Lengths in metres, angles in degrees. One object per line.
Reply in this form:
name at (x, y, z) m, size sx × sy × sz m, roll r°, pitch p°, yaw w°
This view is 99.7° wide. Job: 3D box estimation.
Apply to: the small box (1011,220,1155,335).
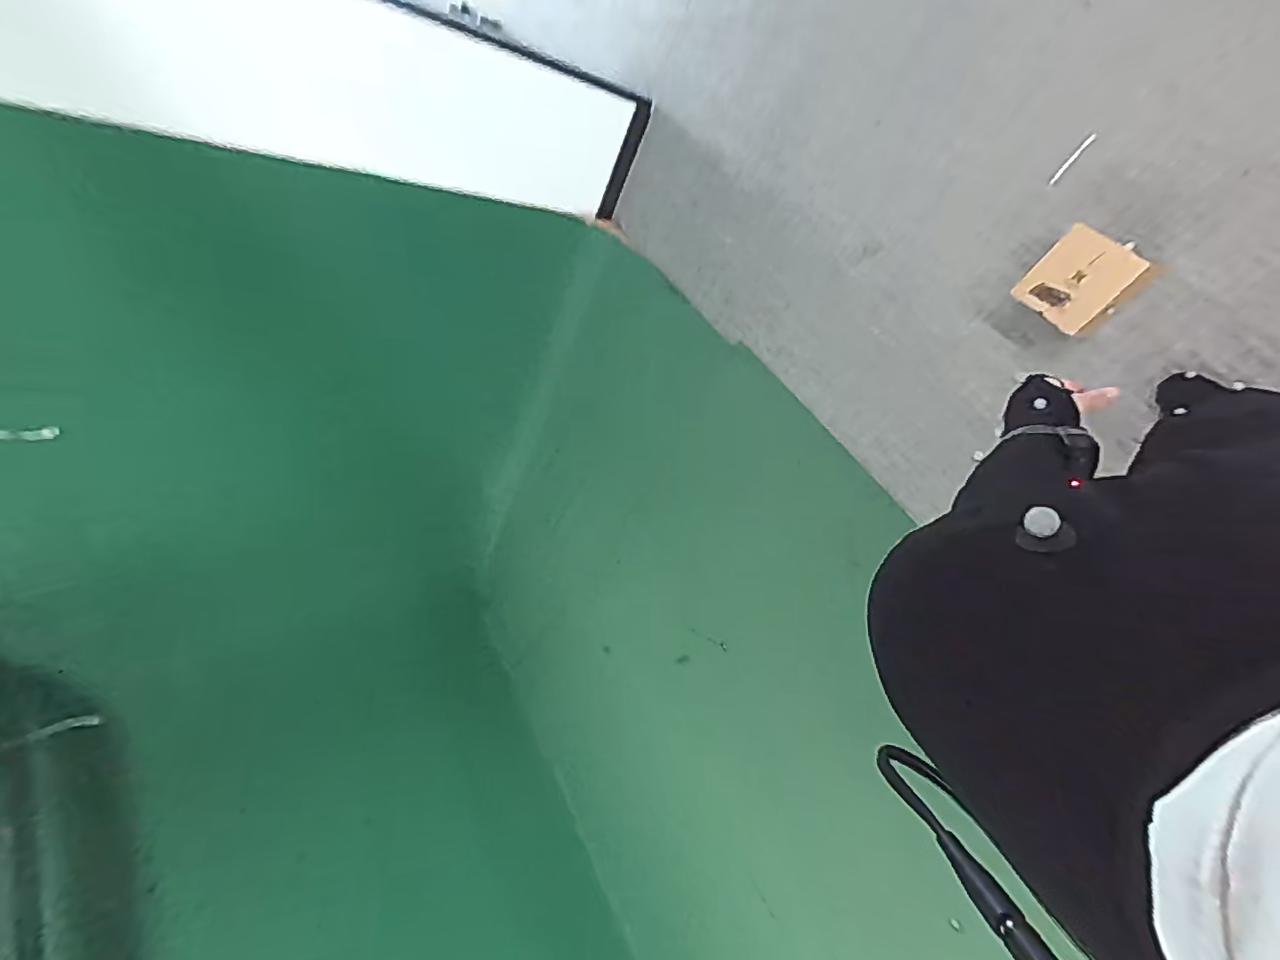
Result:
small box at (0.982, -0.438, 1.196) m, size 0.168 × 0.176 × 0.179 m, roll 54°, pitch 133°, yaw 26°
